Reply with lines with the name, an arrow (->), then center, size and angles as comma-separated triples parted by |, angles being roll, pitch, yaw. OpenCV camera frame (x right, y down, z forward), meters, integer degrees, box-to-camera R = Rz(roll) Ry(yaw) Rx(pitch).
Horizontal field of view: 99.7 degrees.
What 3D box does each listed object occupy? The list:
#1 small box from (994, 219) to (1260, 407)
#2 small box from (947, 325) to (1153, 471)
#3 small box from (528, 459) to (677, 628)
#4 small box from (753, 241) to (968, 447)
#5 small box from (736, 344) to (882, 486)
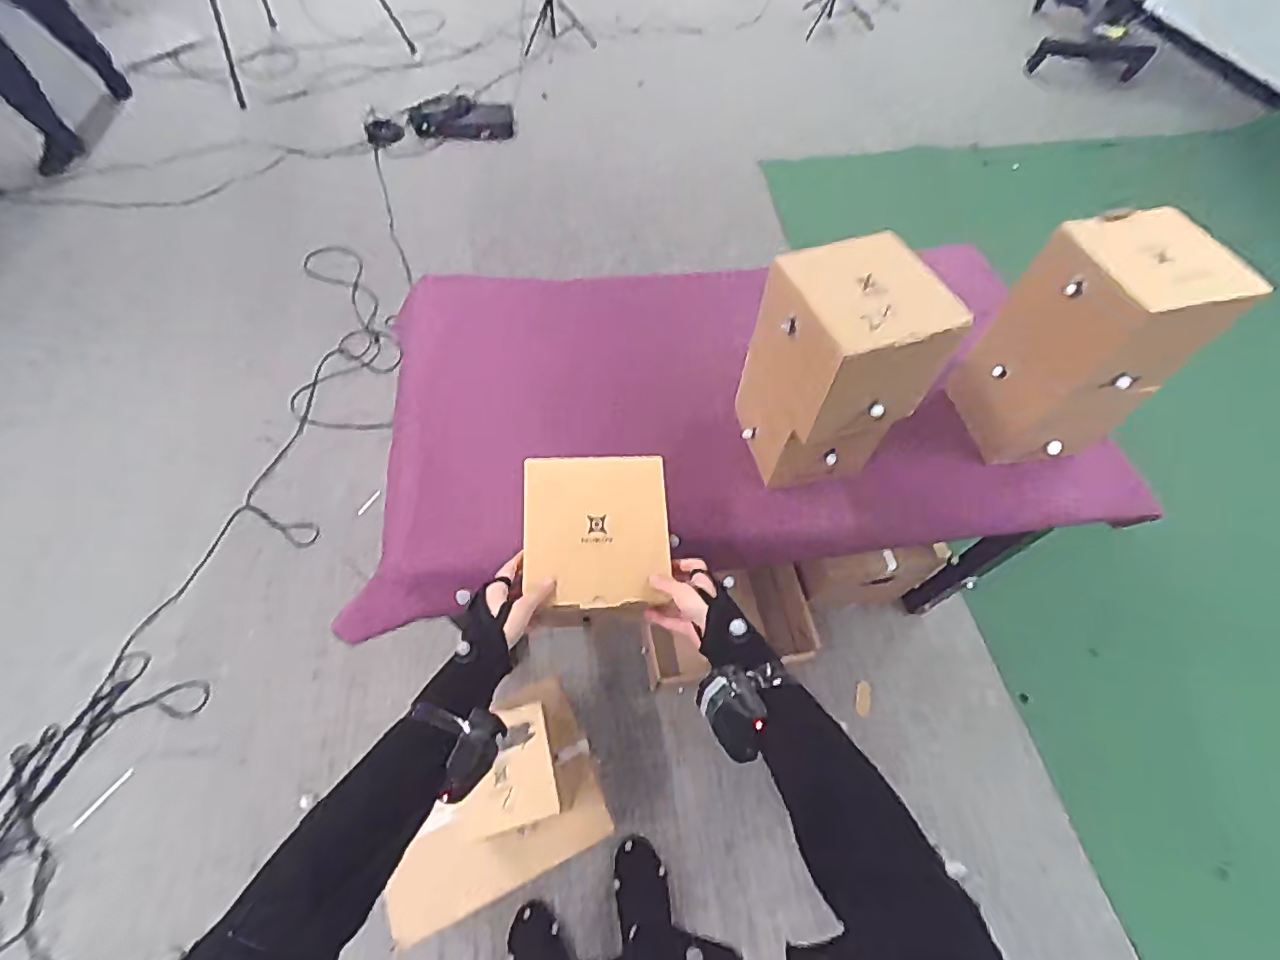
small box -> 0.639, -0.226, 0.742 | 0.168, 0.176, 0.179 | -10, 58, -6
small box -> 0.642, -0.138, 0.879 | 0.168, 0.176, 0.179 | -7, 58, -5
small box -> -0.053, 0.086, 0.691 | 0.168, 0.176, 0.179 | -1, 68, -7
small box -> 0.263, -0.172, 0.699 | 0.168, 0.176, 0.179 | -16, 59, -10
small box -> 0.263, -0.104, 0.851 | 0.168, 0.176, 0.179 | -10, 58, -8
